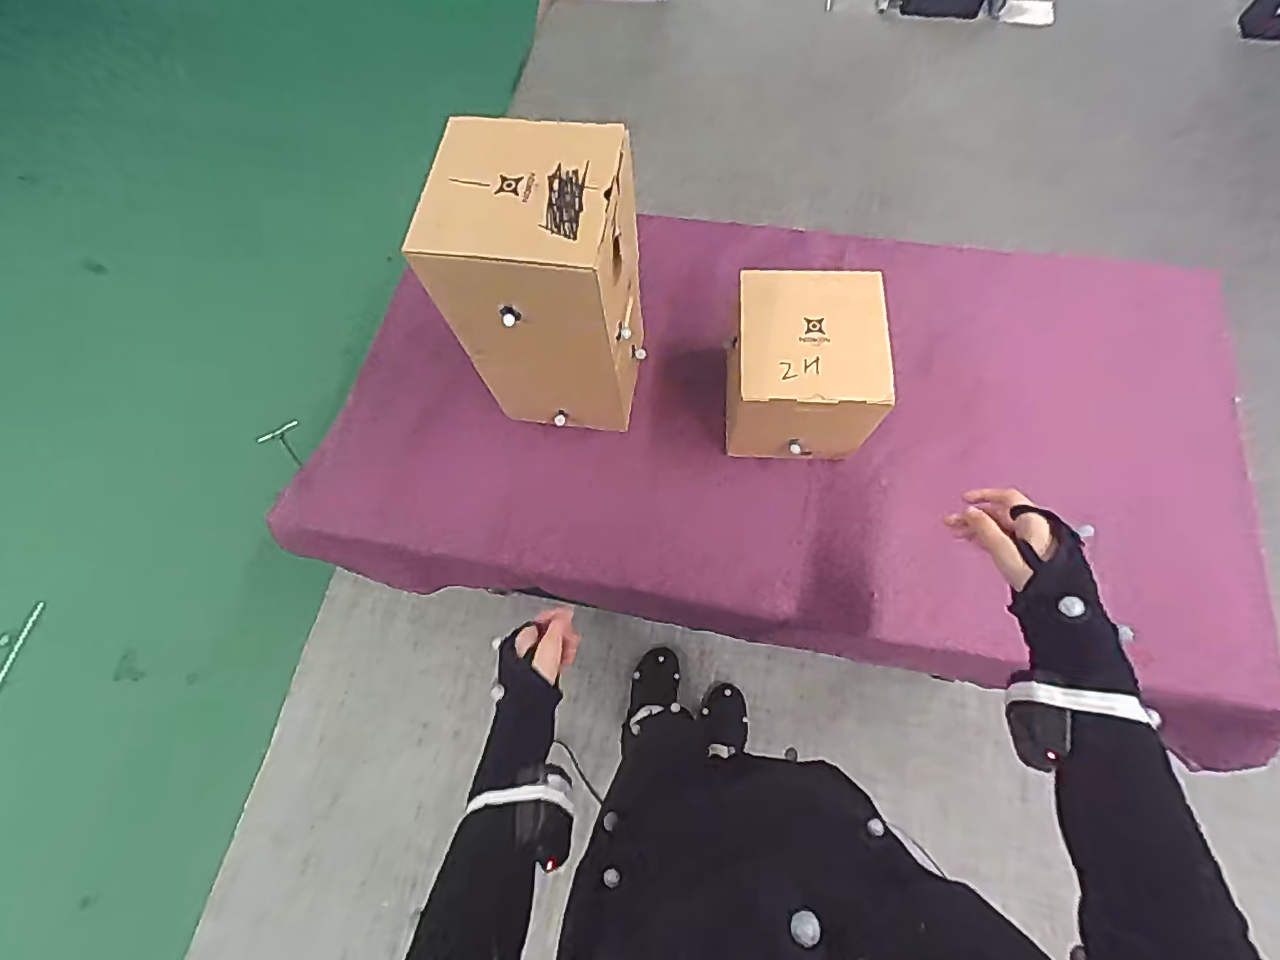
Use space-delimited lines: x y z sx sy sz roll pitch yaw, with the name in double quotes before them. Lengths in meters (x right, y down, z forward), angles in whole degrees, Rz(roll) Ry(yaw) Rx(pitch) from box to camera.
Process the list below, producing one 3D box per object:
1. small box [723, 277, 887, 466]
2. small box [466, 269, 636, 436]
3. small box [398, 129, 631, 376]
"small box" 0.194 -0.131 0.687 0.168 0.176 0.179 2 71 5
"small box" -0.102 -0.170 0.718 0.179 0.176 0.168 7 71 5
"small box" -0.110 -0.224 0.563 0.179 0.176 0.168 7 71 7
